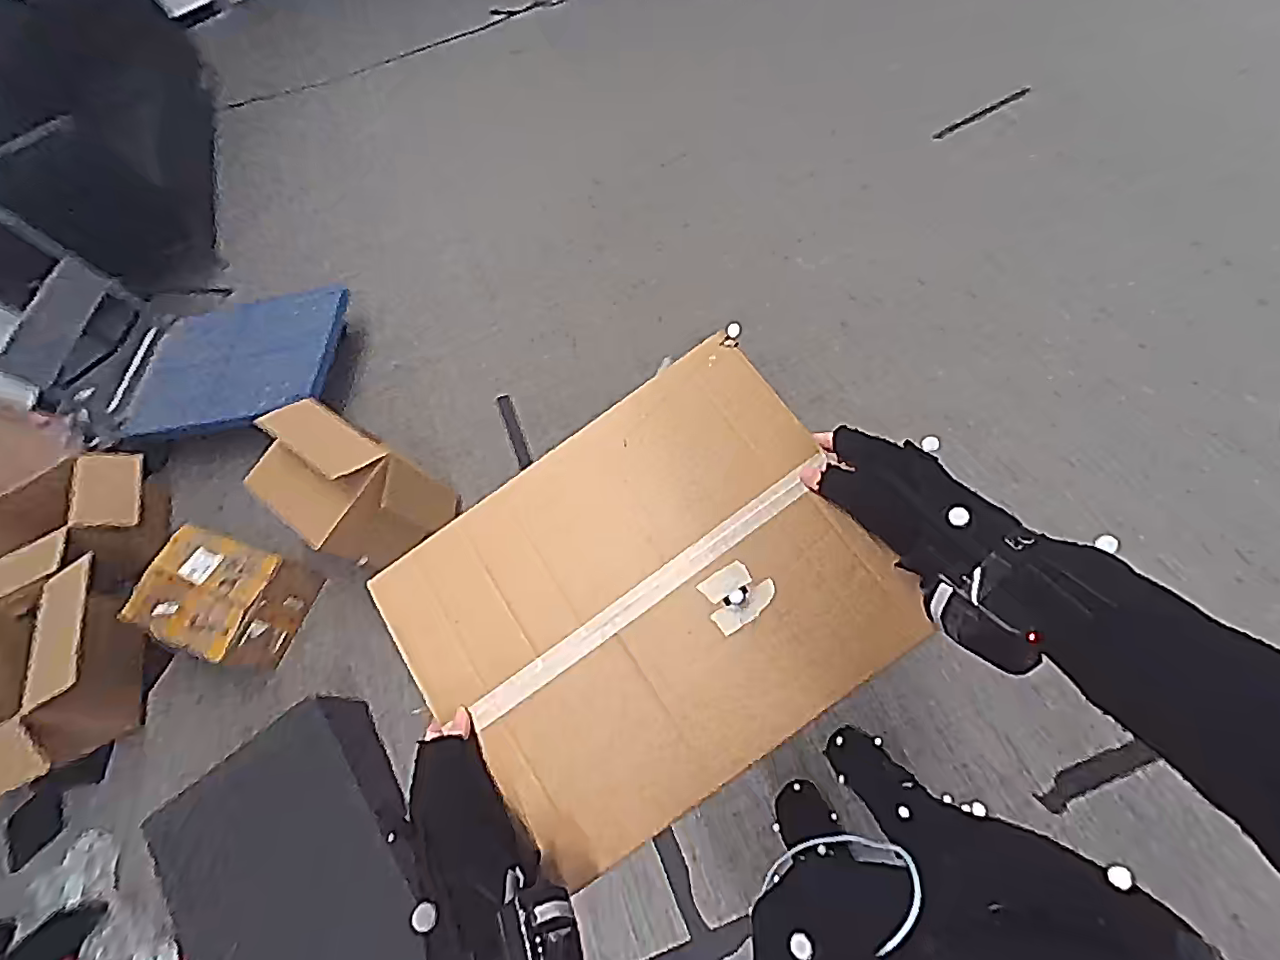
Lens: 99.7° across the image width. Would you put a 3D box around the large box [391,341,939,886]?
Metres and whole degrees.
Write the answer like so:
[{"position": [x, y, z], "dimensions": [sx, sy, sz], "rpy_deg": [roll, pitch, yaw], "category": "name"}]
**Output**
[{"position": [0.024, 0.131, 0.623], "dimensions": [0.408, 0.320, 0.320], "rpy_deg": [-35, 76, -1], "category": "large box"}]
